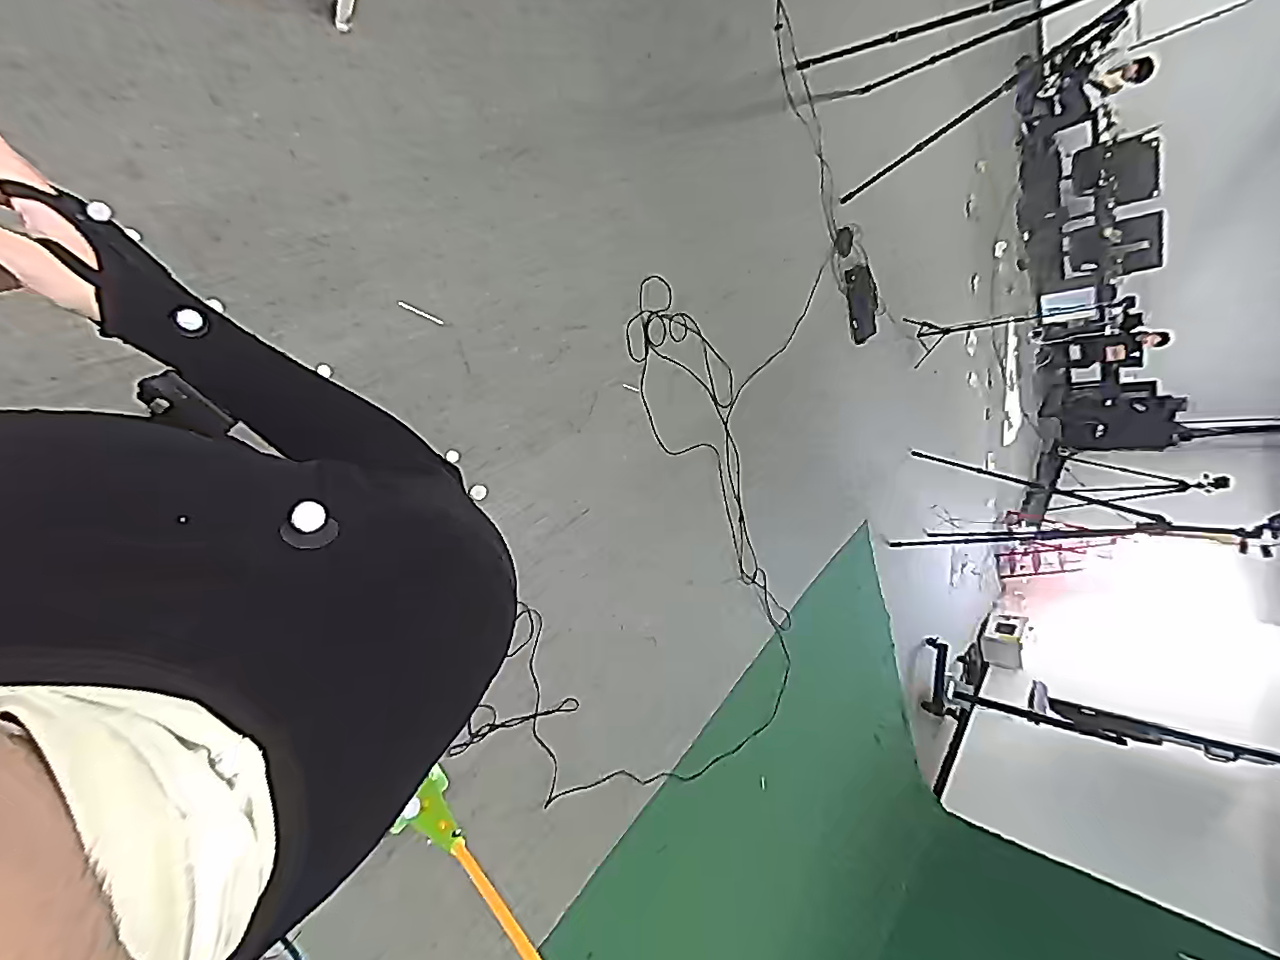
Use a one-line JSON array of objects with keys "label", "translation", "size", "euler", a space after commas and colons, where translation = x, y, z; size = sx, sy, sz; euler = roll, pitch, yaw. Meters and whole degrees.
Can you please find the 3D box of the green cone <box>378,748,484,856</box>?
[{"label": "green cone", "translation": [-0.553, 0.963, 1.534], "size": [0.202, 0.368, 0.200], "euler": [-37, 116, -37]}]
